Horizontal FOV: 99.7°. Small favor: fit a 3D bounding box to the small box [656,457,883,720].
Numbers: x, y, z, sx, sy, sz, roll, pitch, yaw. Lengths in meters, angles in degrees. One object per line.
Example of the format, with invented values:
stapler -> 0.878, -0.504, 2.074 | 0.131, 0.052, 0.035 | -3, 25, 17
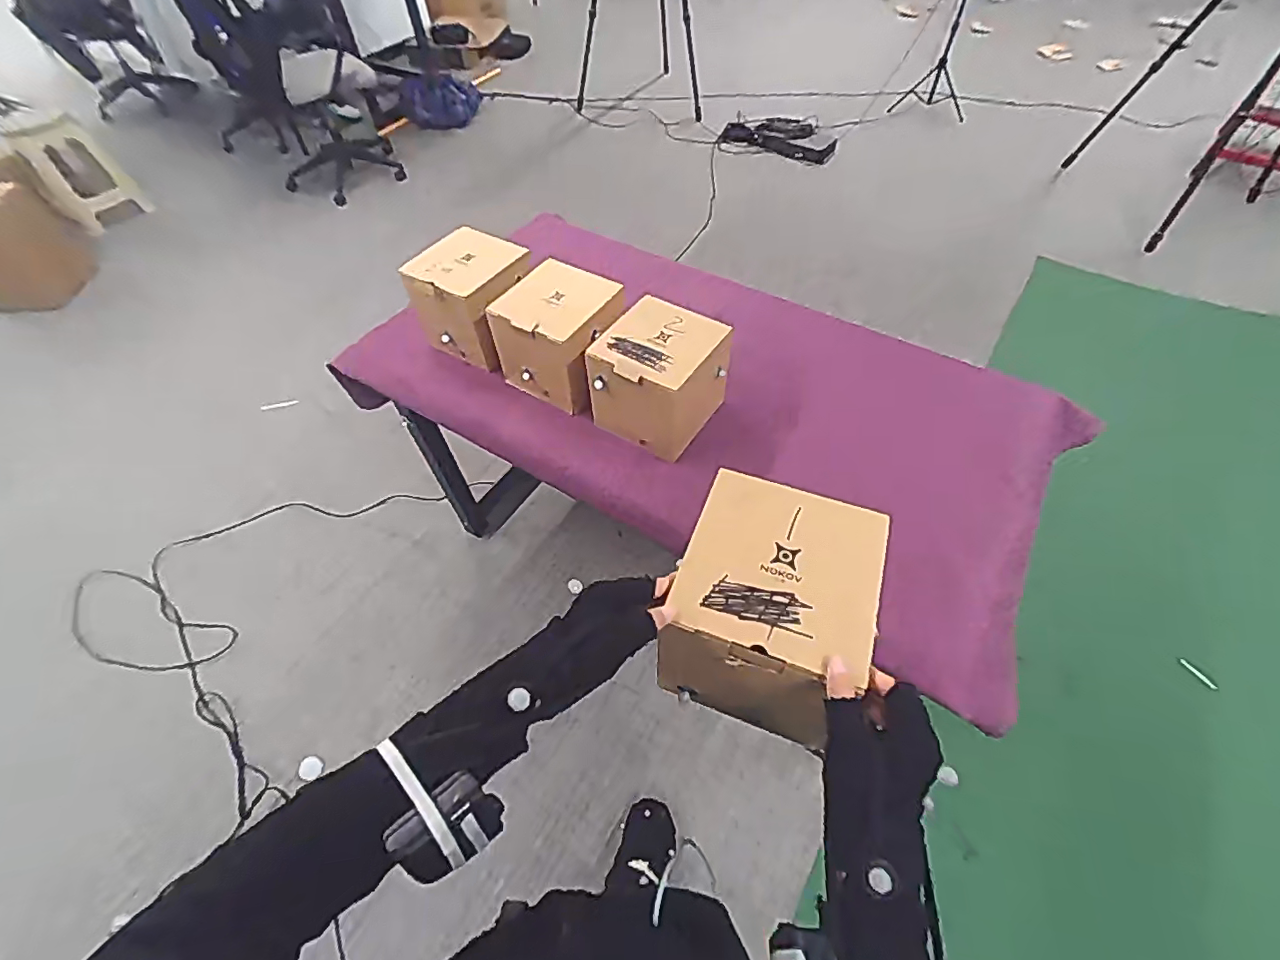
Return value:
small box -> 0.124, 0.112, 0.541 | 0.168, 0.176, 0.179 | 17, 53, 14
